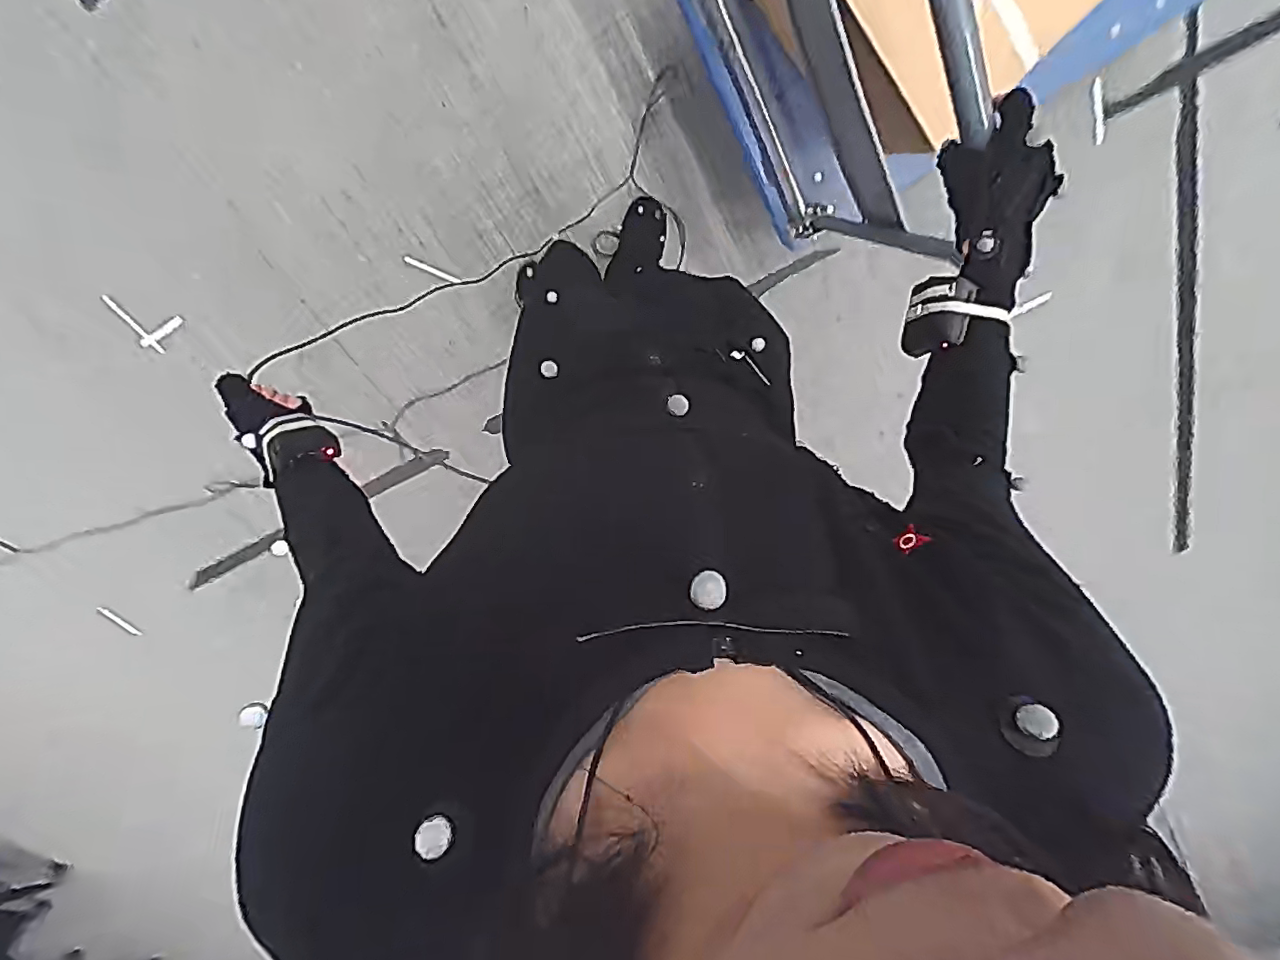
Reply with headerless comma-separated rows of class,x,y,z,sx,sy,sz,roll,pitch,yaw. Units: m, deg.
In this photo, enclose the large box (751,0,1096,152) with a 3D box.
large box,0.415,-0.797,0.843,0.408,0.320,0.320,39,111,-25
